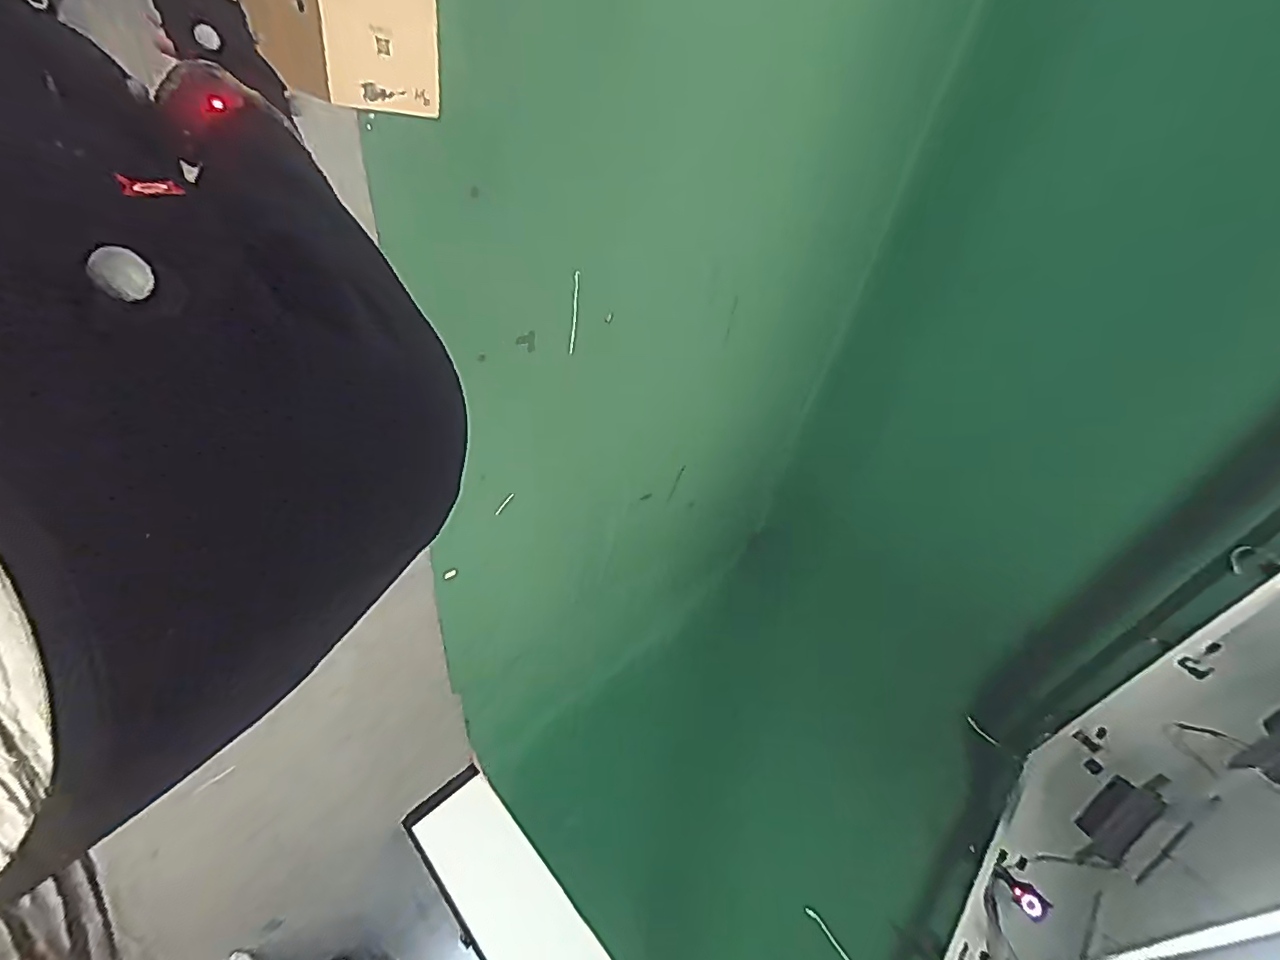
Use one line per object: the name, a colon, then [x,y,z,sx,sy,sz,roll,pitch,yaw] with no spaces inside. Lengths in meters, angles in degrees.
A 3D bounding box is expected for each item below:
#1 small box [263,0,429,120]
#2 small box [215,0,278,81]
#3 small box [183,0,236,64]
small box: [-0.430,-0.652,0.789,0.168,0.176,0.179,-25,139,-41]
small box: [-0.548,-0.738,0.861,0.179,0.176,0.168,-25,140,-40]
small box: [-0.667,-0.824,0.936,0.179,0.176,0.168,-26,141,-39]
